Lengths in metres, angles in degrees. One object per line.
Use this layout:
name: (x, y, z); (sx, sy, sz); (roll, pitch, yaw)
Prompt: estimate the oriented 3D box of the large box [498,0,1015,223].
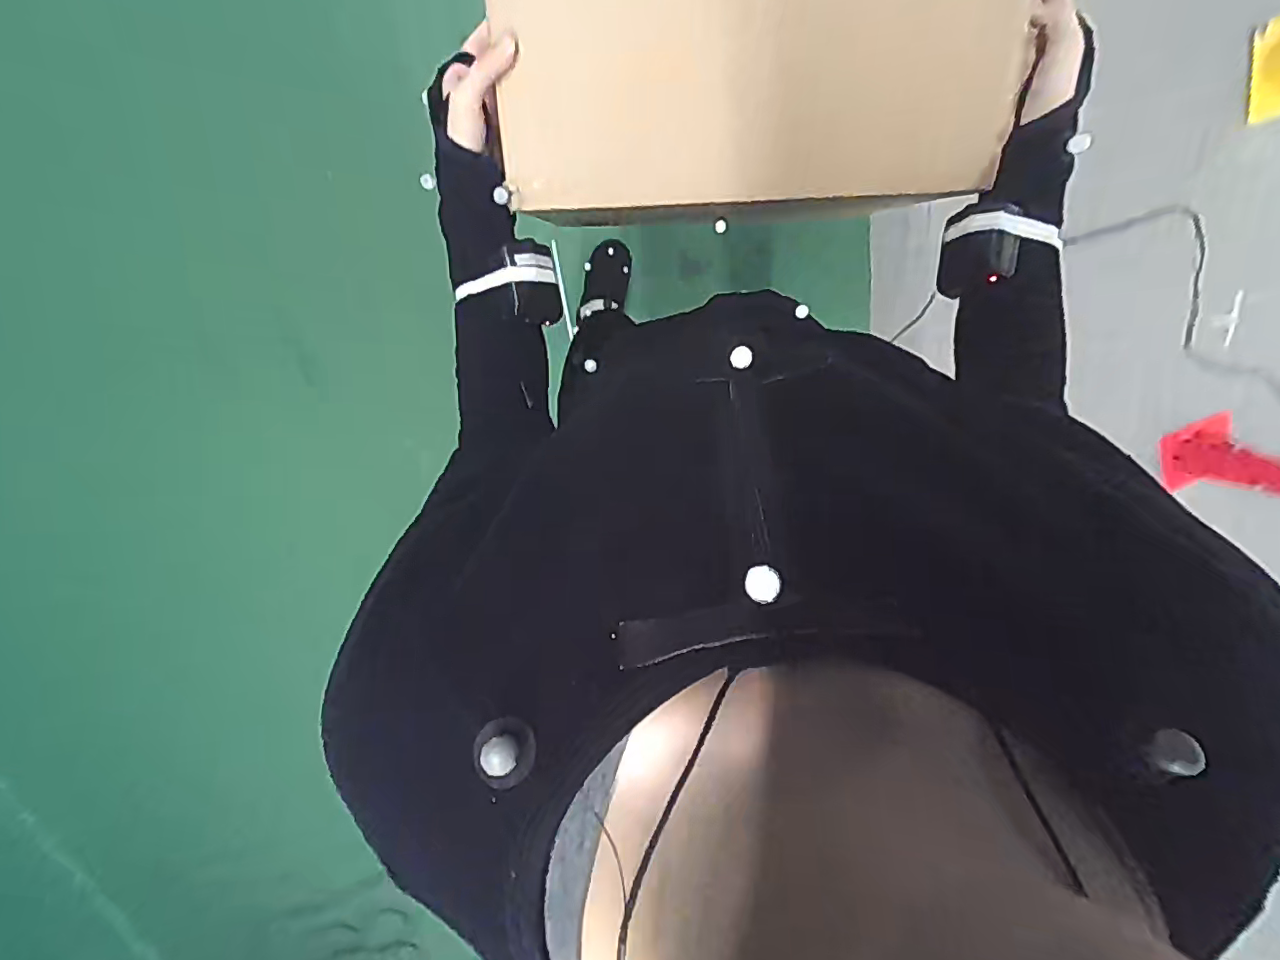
large box: (0.090, -0.442, 0.543); (0.408, 0.320, 0.320); (-2, 112, 1)
